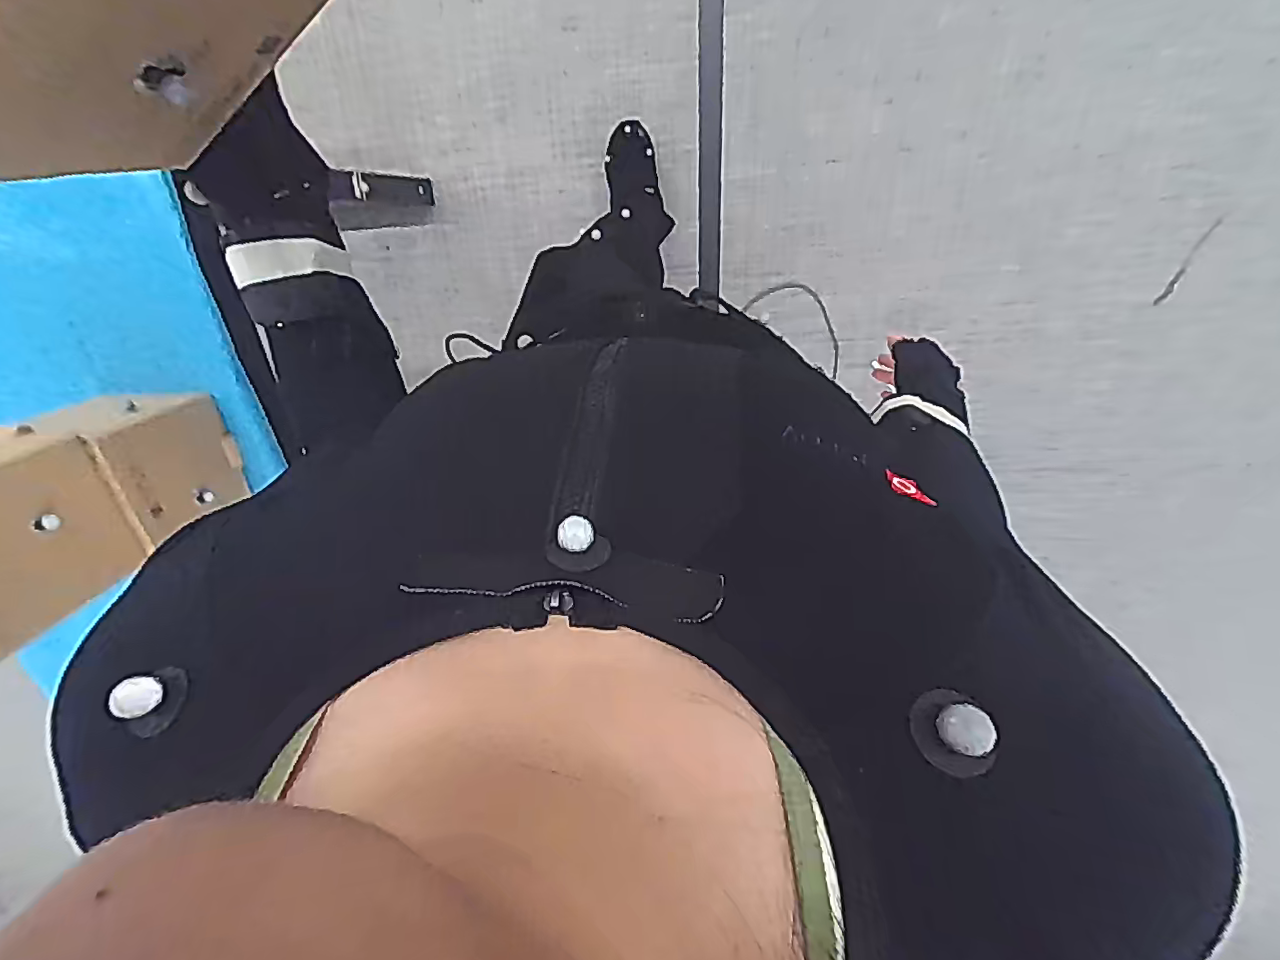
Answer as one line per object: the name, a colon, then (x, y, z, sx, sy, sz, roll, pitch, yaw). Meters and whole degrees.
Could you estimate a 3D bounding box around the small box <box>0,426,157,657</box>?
small box: (-0.681, 0.057, 0.558, 0.168, 0.176, 0.179, 1, 119, 7)

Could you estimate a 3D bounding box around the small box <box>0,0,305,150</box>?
small box: (-0.264, -0.261, 0.209, 0.168, 0.176, 0.179, -30, 118, 17)

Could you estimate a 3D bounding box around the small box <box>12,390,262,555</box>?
small box: (-0.659, -0.011, 0.705, 0.179, 0.176, 0.168, -1, 116, 7)
